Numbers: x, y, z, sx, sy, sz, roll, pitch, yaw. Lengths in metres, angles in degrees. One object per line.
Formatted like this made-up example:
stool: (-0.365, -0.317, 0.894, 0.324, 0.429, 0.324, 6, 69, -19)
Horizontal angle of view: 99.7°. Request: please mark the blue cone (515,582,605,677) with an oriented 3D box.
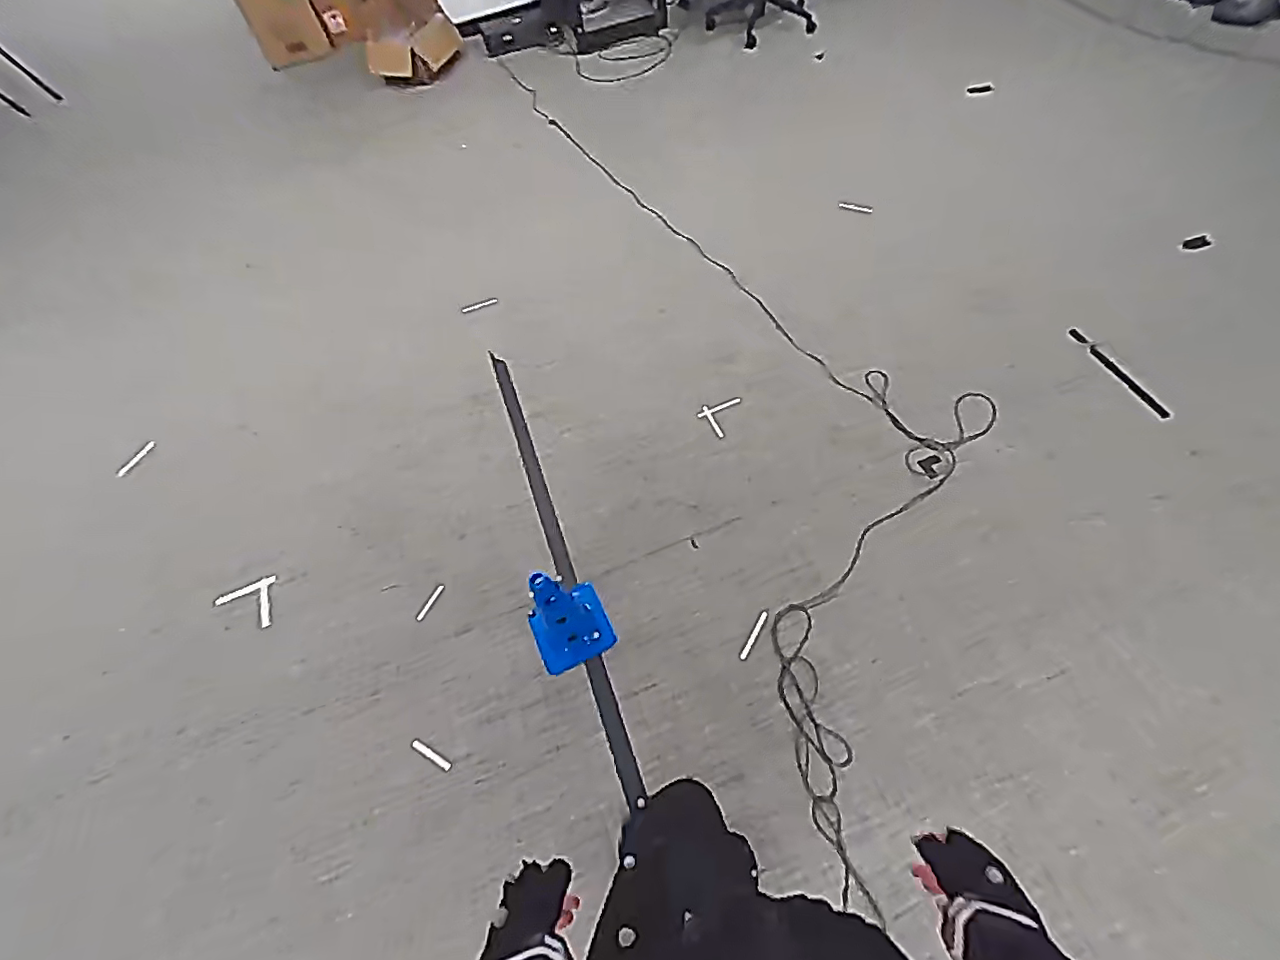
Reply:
blue cone: (-0.221, 0.325, 1.316, 0.192, 0.380, 0.193, -24, 59, -8)
